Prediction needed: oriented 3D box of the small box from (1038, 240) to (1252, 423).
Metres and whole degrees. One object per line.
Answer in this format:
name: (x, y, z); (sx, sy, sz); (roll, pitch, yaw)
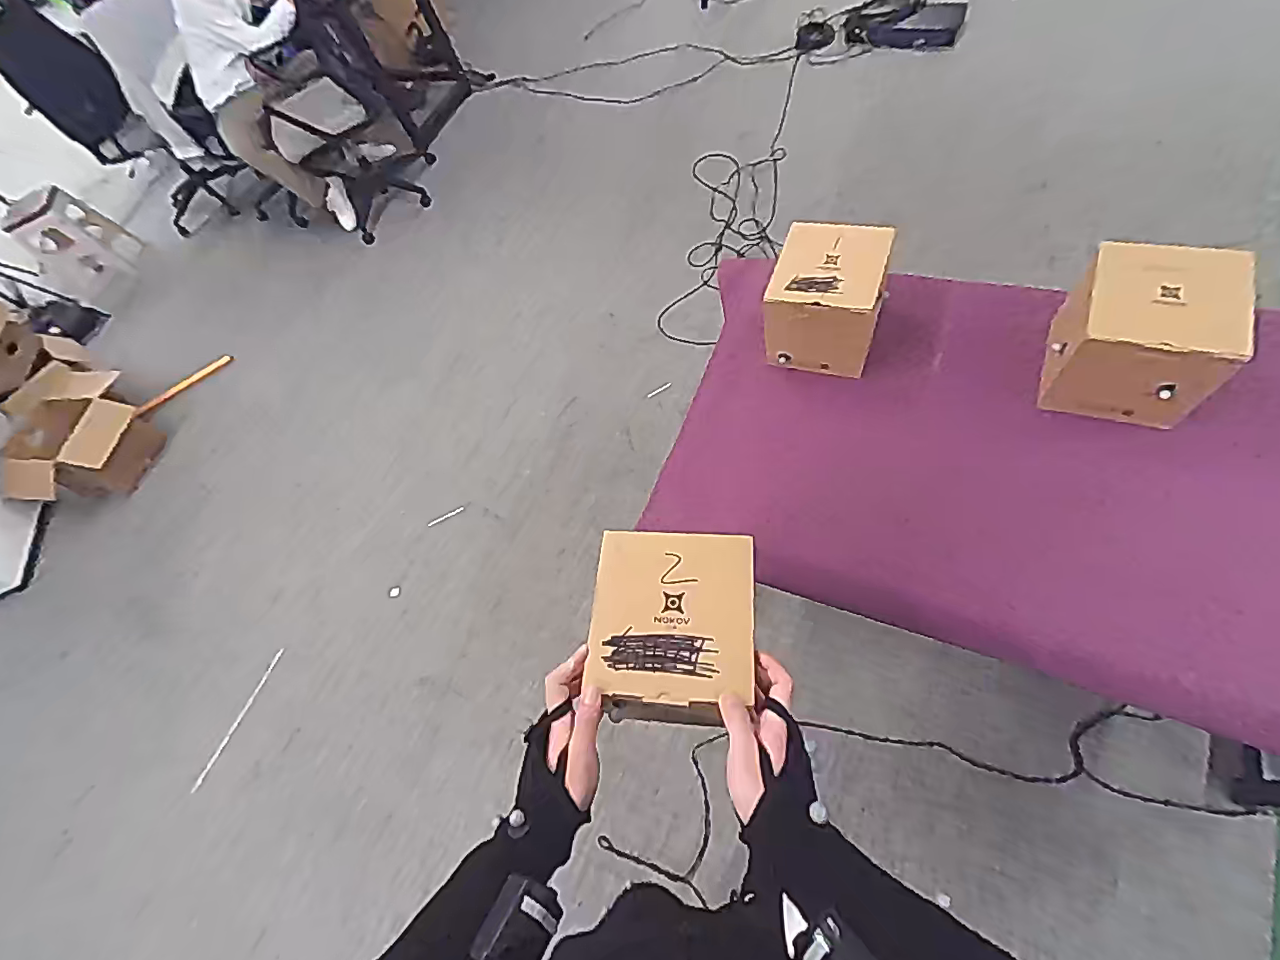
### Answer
small box: (0.691, -0.203, 0.758); (0.168, 0.176, 0.179); (16, 69, 22)

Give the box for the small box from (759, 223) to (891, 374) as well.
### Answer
small box: (0.312, -0.305, 0.919); (0.168, 0.176, 0.179); (15, 68, 22)
